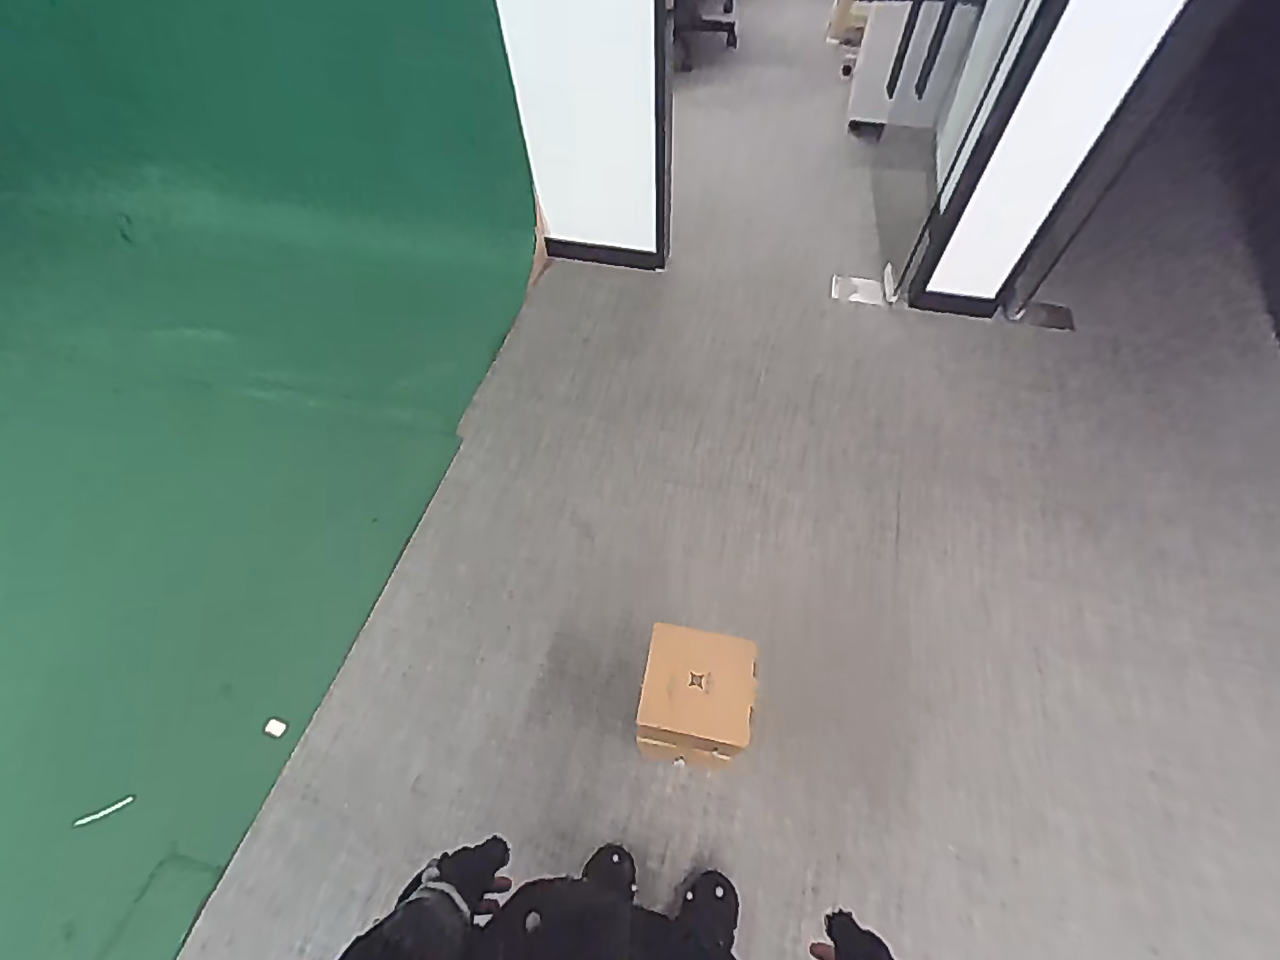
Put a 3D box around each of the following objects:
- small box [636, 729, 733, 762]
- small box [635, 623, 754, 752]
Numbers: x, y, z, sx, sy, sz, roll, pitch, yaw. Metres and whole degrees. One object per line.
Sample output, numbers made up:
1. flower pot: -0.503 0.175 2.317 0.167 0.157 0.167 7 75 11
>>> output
1. small box: 0.094 0.454 1.074 0.179 0.176 0.168 9 59 7
2. small box: 0.094 0.365 0.938 0.179 0.176 0.168 7 58 7
